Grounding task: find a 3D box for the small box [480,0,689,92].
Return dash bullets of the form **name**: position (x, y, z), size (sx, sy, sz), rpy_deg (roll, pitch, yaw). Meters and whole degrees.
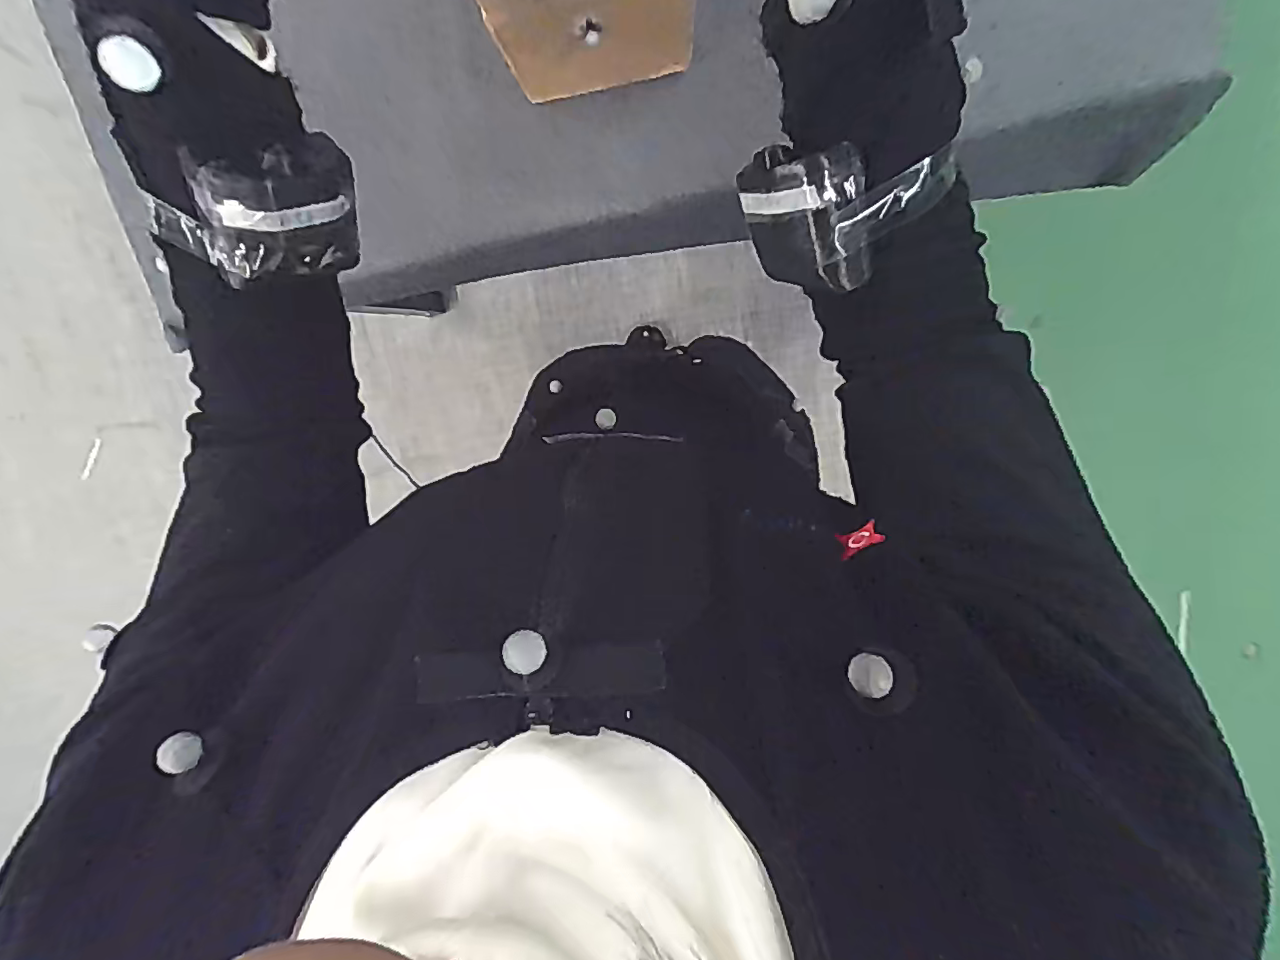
- **small box**: position (-0.050, -0.486, 0.486), size (0.179, 0.176, 0.168), rpy_deg (-9, 105, 5)
